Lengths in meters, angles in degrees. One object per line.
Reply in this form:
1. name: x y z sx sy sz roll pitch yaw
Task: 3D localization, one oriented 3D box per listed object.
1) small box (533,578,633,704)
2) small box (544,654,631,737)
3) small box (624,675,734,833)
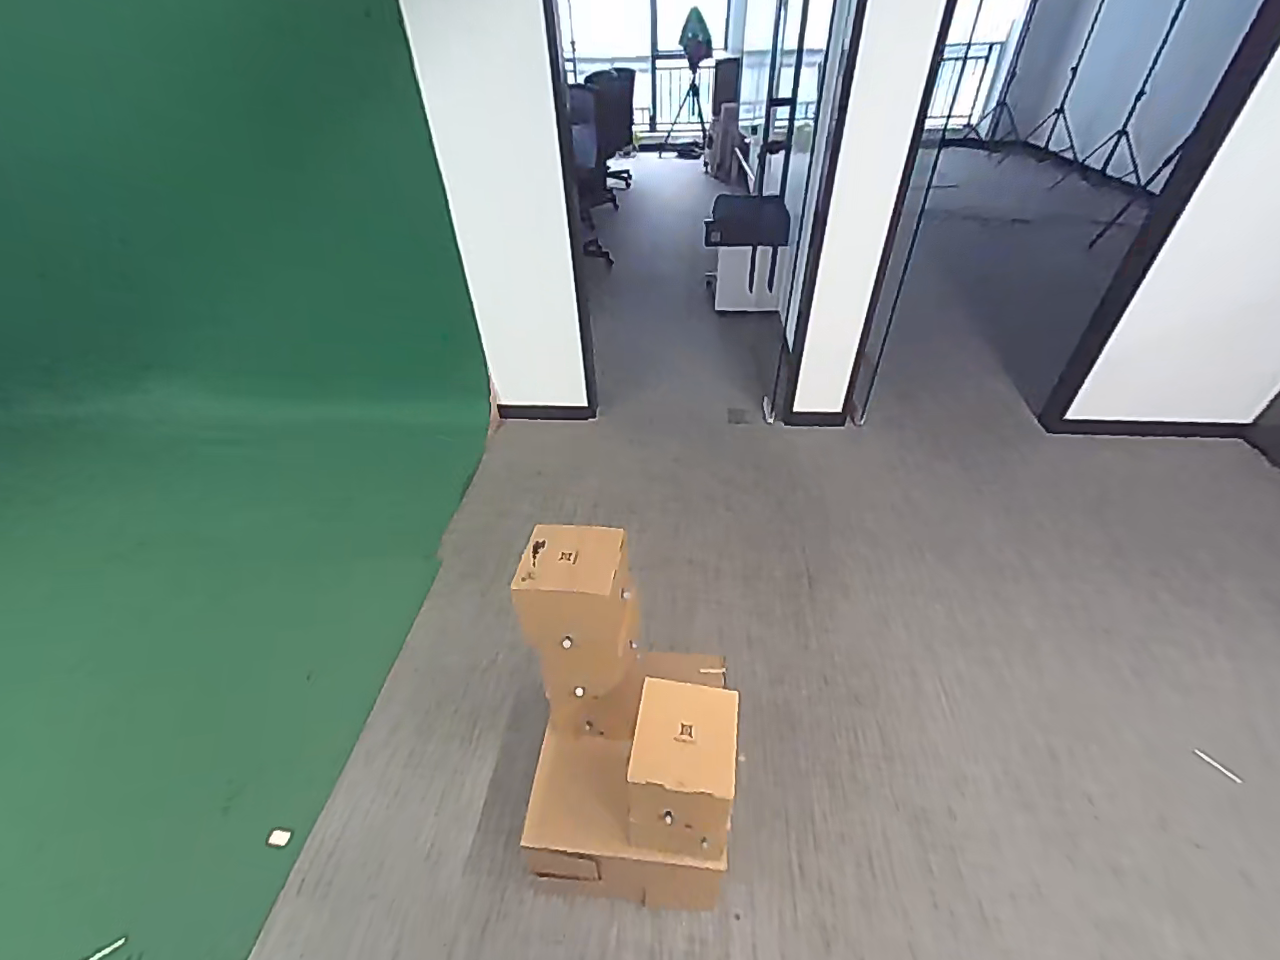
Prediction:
1. small box: -0.108 0.329 1.114 0.168 0.176 0.179 4 38 8
2. small box: -0.110 0.450 1.227 0.168 0.176 0.179 2 37 6
3. small box: 0.067 0.471 0.935 0.168 0.176 0.179 6 40 7
